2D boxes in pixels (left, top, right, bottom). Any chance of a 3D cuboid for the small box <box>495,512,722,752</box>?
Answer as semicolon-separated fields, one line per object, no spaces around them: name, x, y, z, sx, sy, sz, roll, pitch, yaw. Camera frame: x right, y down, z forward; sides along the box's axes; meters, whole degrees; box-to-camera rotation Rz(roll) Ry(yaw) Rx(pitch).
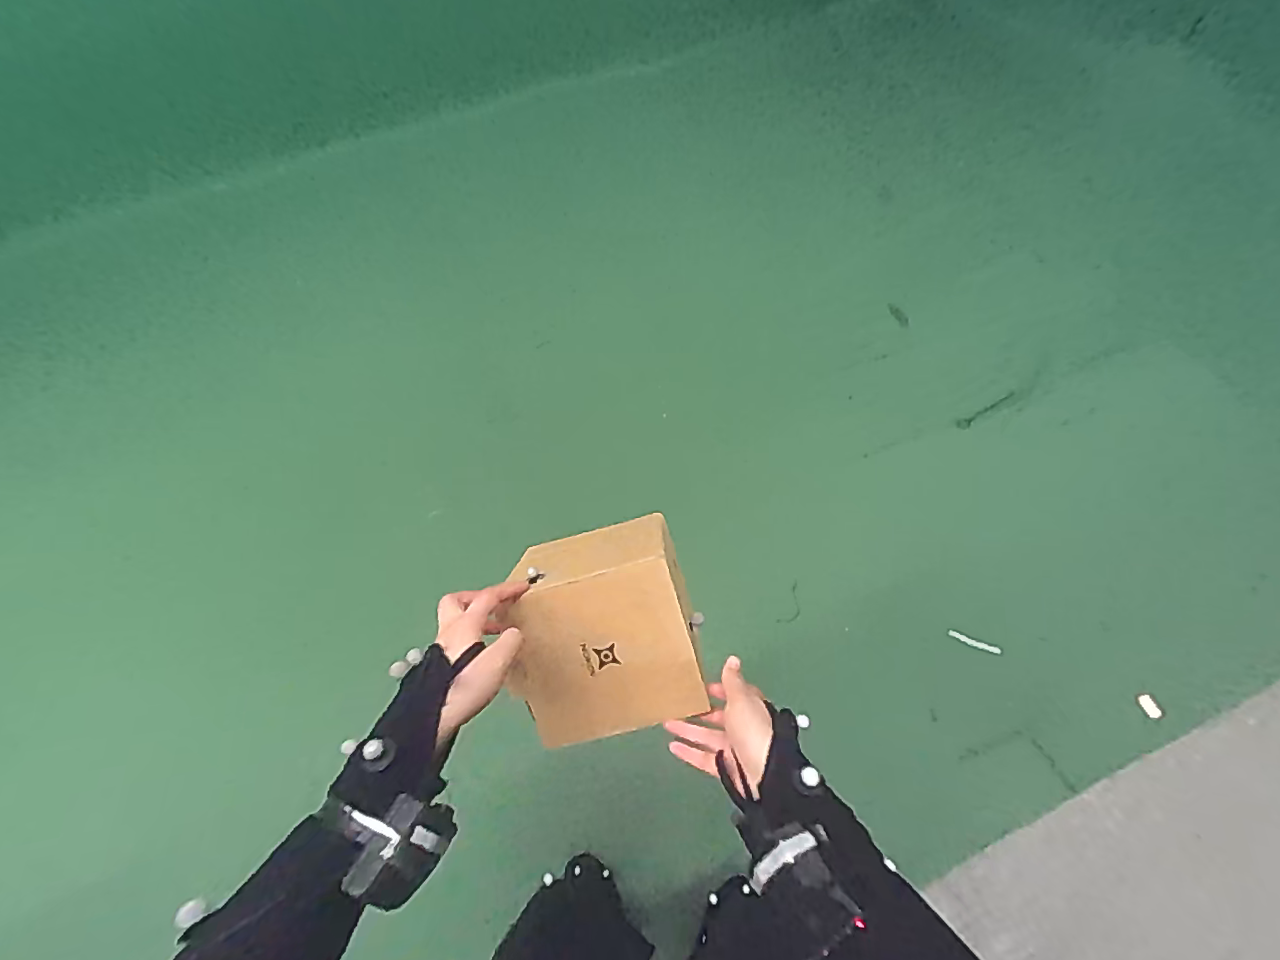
small box;-0.026;0.147;0.578;0.179;0.176;0.168;-17;100;5
